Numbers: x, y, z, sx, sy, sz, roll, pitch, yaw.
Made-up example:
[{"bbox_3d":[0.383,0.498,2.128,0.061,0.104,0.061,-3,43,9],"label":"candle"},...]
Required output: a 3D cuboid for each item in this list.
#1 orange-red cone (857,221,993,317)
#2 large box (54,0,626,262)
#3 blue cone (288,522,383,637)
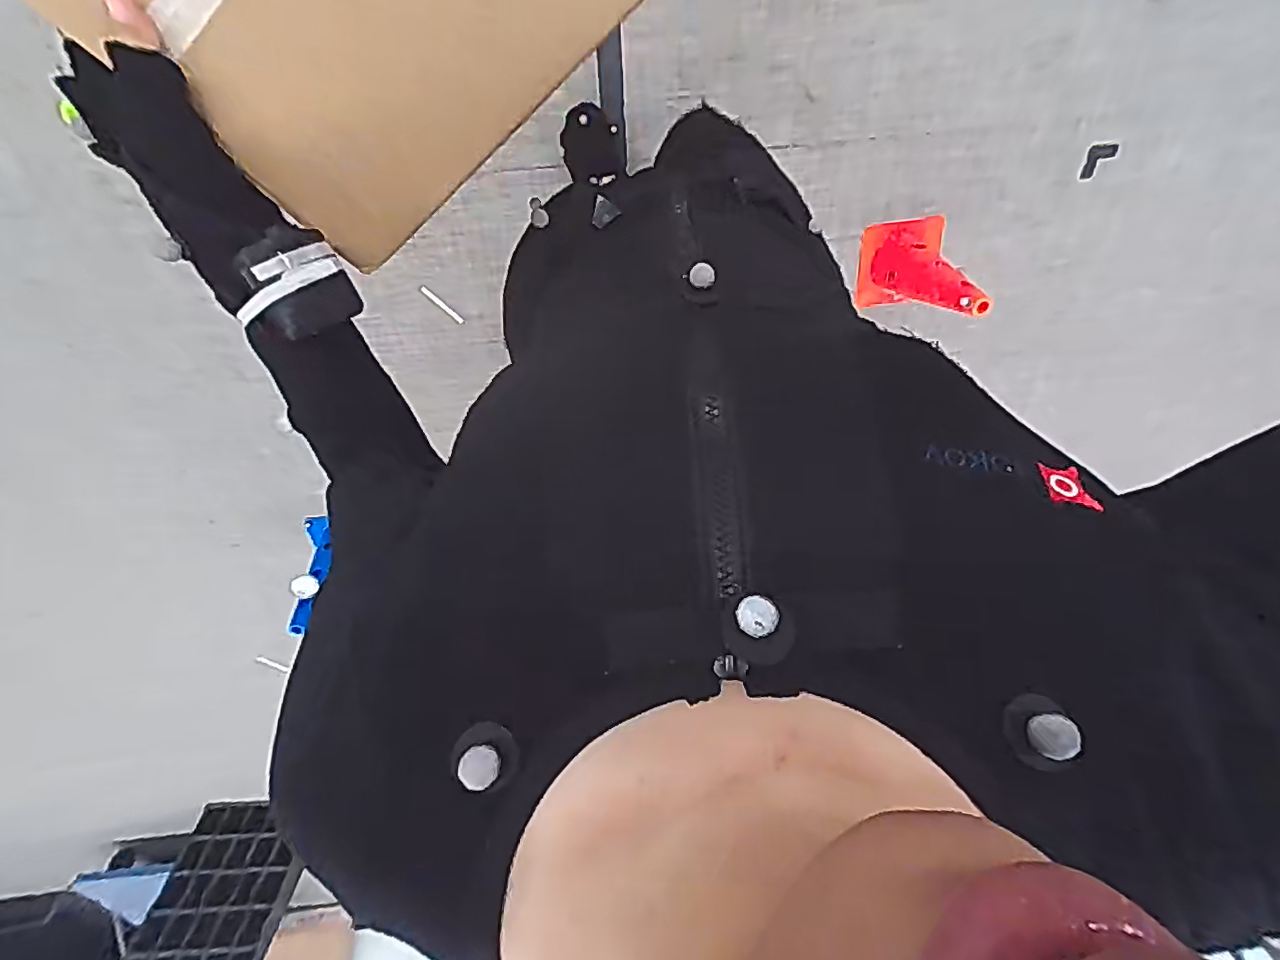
[{"bbox_3d":[0.663,-0.439,1.214,0.198,0.360,0.199,-8,124,-1],"label":"orange-red cone"},{"bbox_3d":[-0.180,-0.450,0.383,0.408,0.320,0.320,-37,131,15],"label":"large box"},{"bbox_3d":[-0.922,0.300,1.591,0.192,0.380,0.193,-2,125,-3],"label":"blue cone"}]
